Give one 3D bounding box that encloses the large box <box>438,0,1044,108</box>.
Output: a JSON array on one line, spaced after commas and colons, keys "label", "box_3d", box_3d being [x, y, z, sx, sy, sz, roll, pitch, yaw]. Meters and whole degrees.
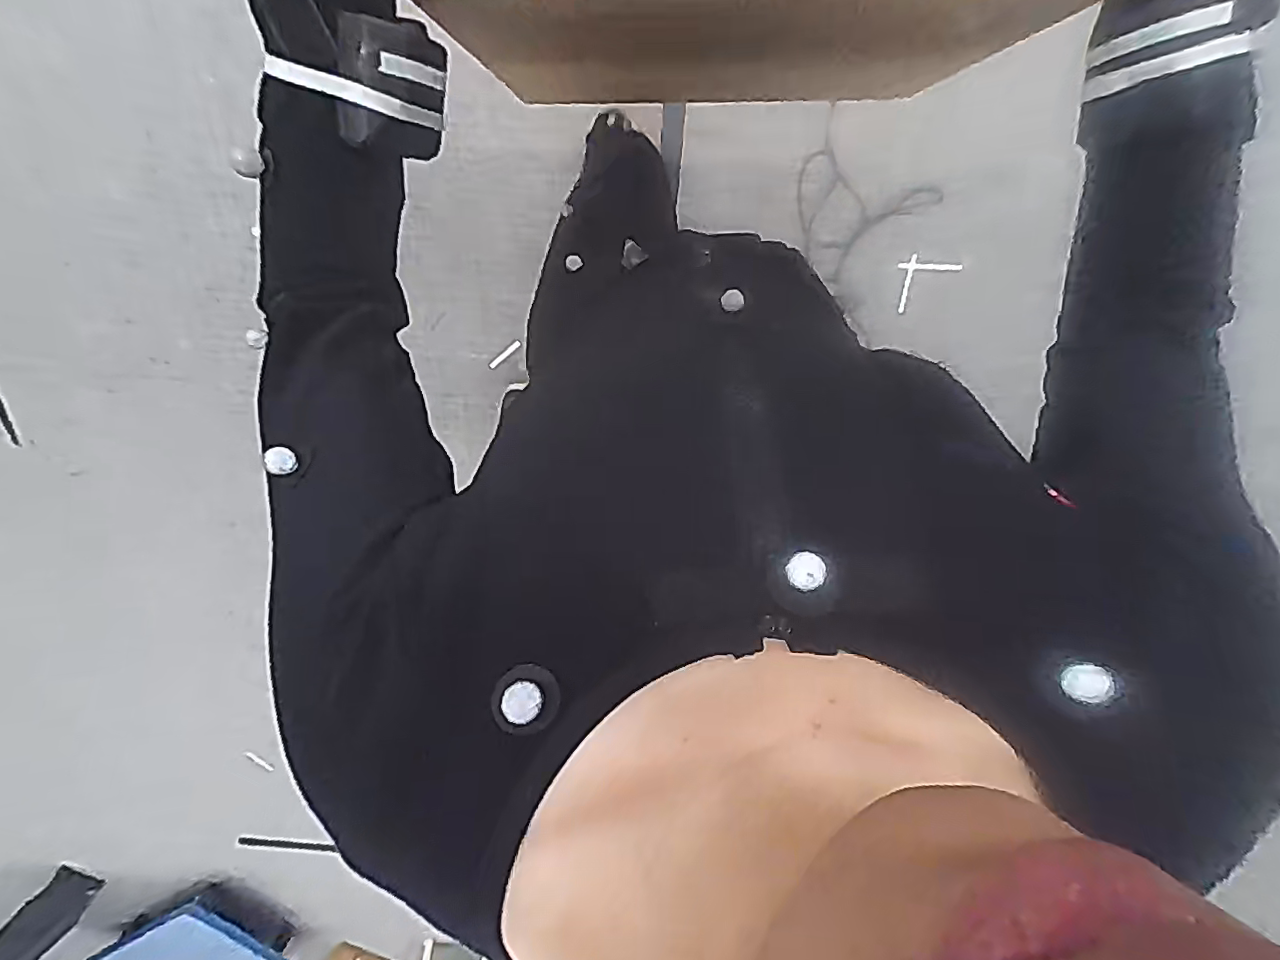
[{"label": "large box", "box_3d": [0.069, -0.478, 0.370, 0.408, 0.320, 0.320, -1, 115, 1]}]
